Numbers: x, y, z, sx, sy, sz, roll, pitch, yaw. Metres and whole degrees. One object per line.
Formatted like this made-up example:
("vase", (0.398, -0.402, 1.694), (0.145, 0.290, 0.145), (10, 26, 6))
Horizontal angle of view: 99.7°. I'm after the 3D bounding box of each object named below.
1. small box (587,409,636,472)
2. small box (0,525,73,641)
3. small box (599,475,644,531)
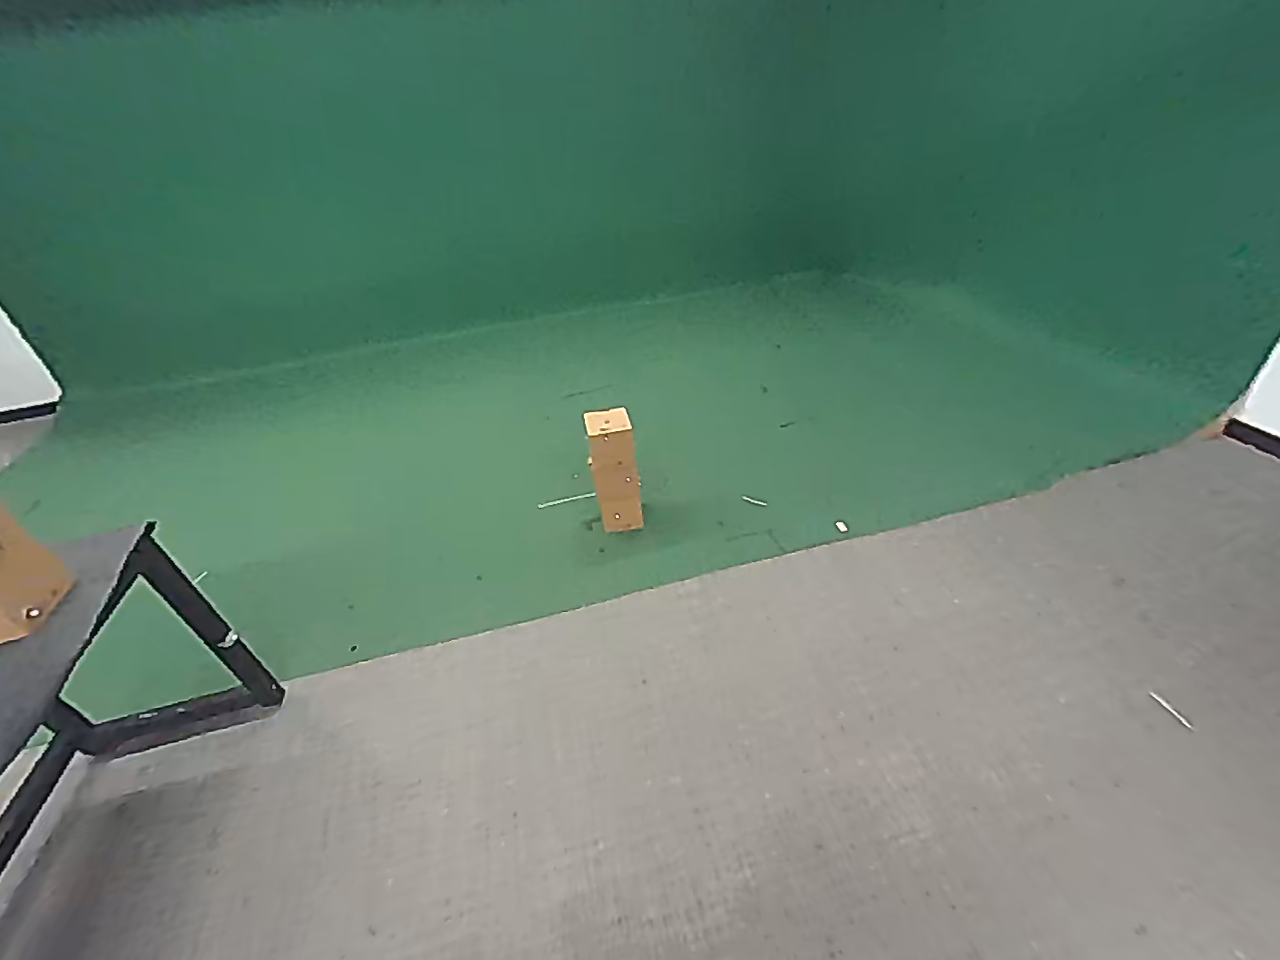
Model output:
("small box", (-0.112, -0.153, 2.095), (0.168, 0.176, 0.179), (-9, 35, -6))
("small box", (-1.332, 0.221, 1.091), (0.179, 0.176, 0.168), (-15, 38, -6))
("small box", (-0.079, 0.104, 2.297), (0.168, 0.176, 0.179), (-8, 36, -2))
